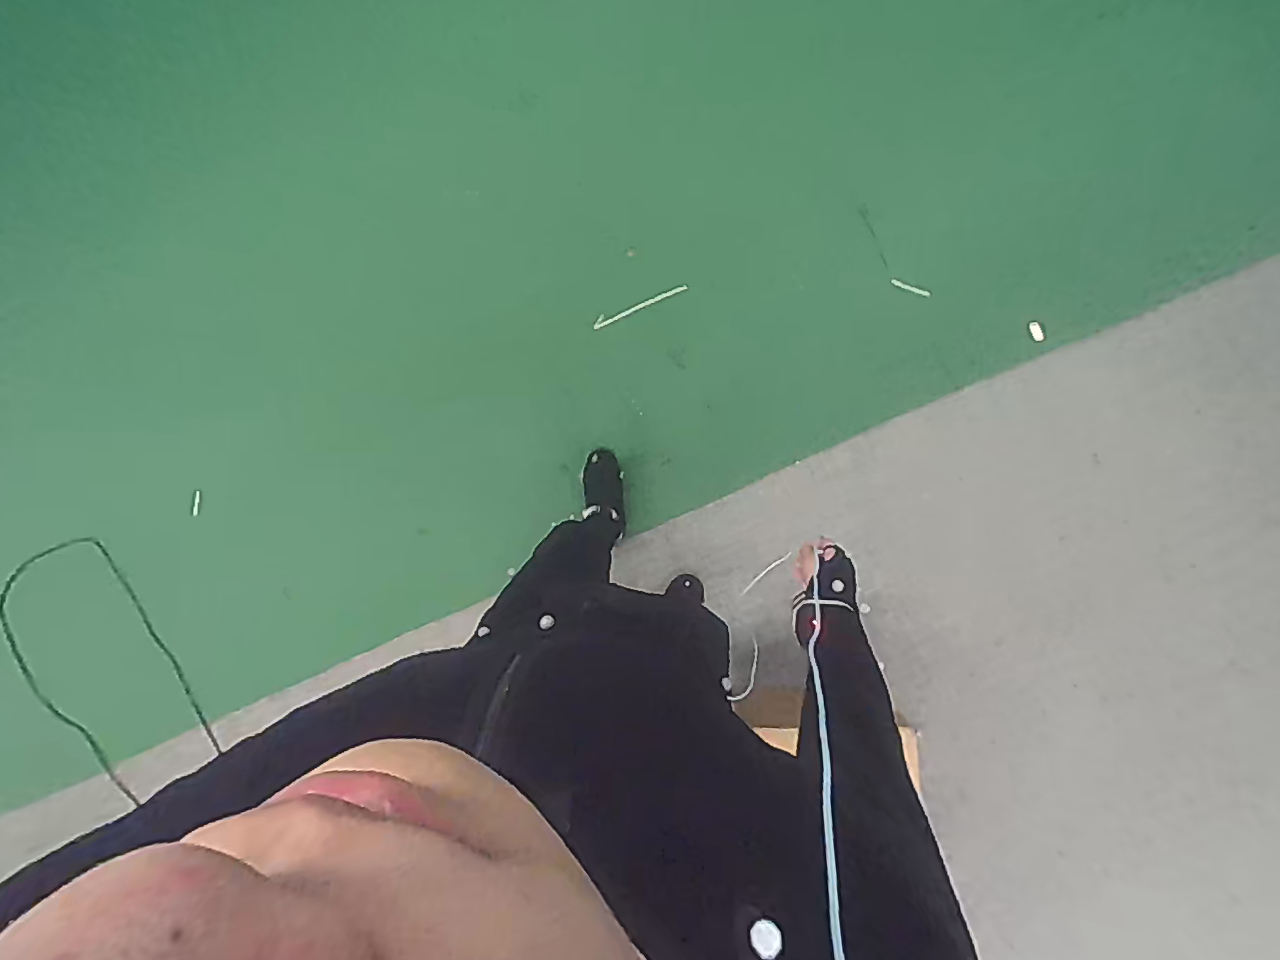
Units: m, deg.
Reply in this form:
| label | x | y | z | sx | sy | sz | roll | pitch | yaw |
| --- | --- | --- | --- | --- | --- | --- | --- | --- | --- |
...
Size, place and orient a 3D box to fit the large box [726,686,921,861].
| label | x | y | z | sx | sy | sz | roll | pitch | yaw |
| --- | --- | --- | --- | --- | --- | --- | --- | --- | --- |
| large box | 0.441 | 0.729 | 1.393 | 0.408 | 0.320 | 0.320 | -2 | 85 | 5 |
